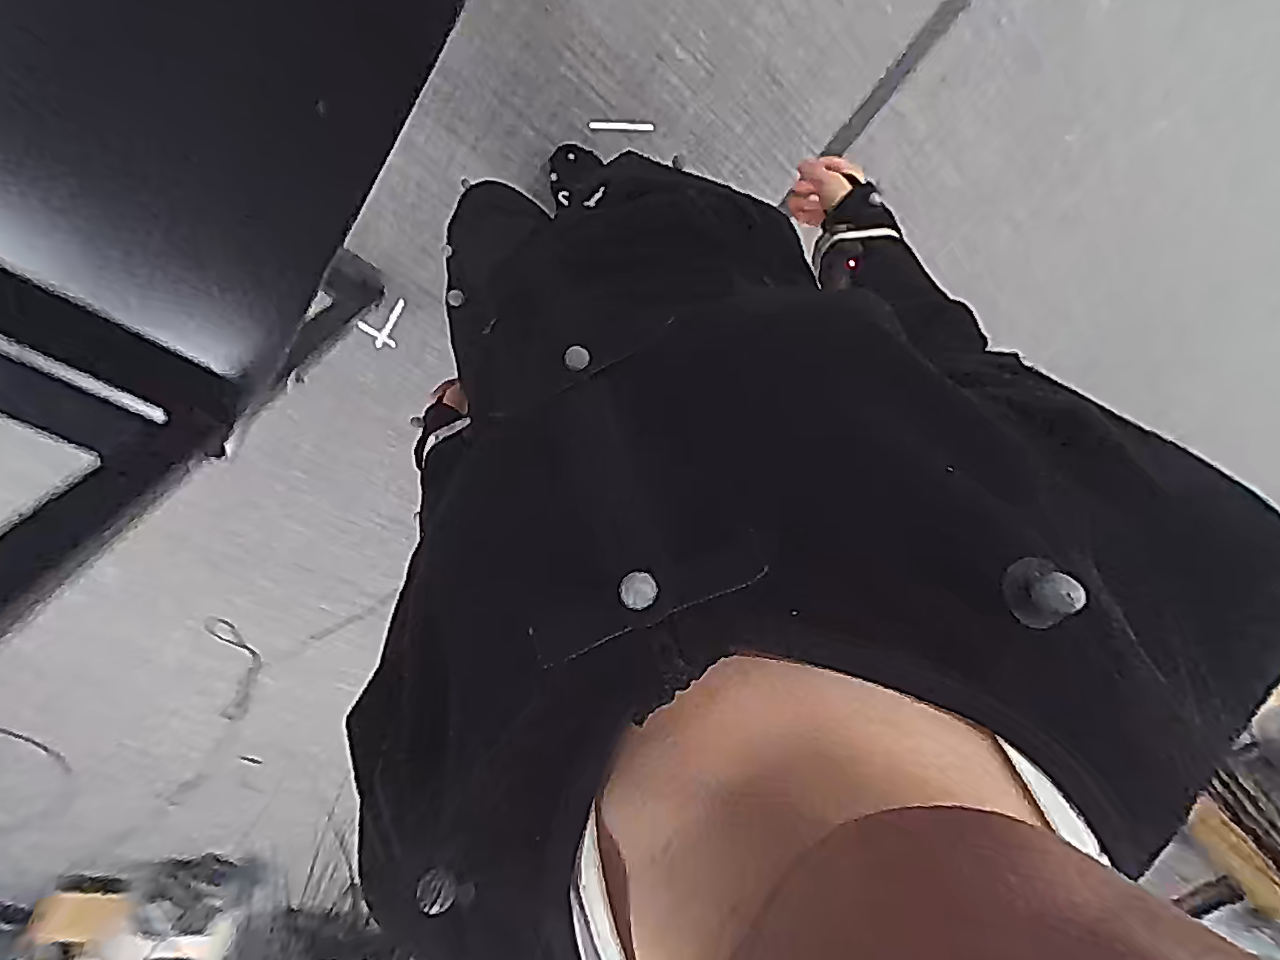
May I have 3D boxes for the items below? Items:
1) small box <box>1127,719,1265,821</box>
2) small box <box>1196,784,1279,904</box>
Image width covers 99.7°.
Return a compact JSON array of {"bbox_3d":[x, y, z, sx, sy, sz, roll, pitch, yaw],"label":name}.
[{"bbox_3d":[1.368,0.720,1.327,0.179,0.176,0.168,33,108,-25],"label":"small box"},{"bbox_3d":[1.392,0.802,1.187,0.179,0.176,0.168,34,108,-28],"label":"small box"}]
